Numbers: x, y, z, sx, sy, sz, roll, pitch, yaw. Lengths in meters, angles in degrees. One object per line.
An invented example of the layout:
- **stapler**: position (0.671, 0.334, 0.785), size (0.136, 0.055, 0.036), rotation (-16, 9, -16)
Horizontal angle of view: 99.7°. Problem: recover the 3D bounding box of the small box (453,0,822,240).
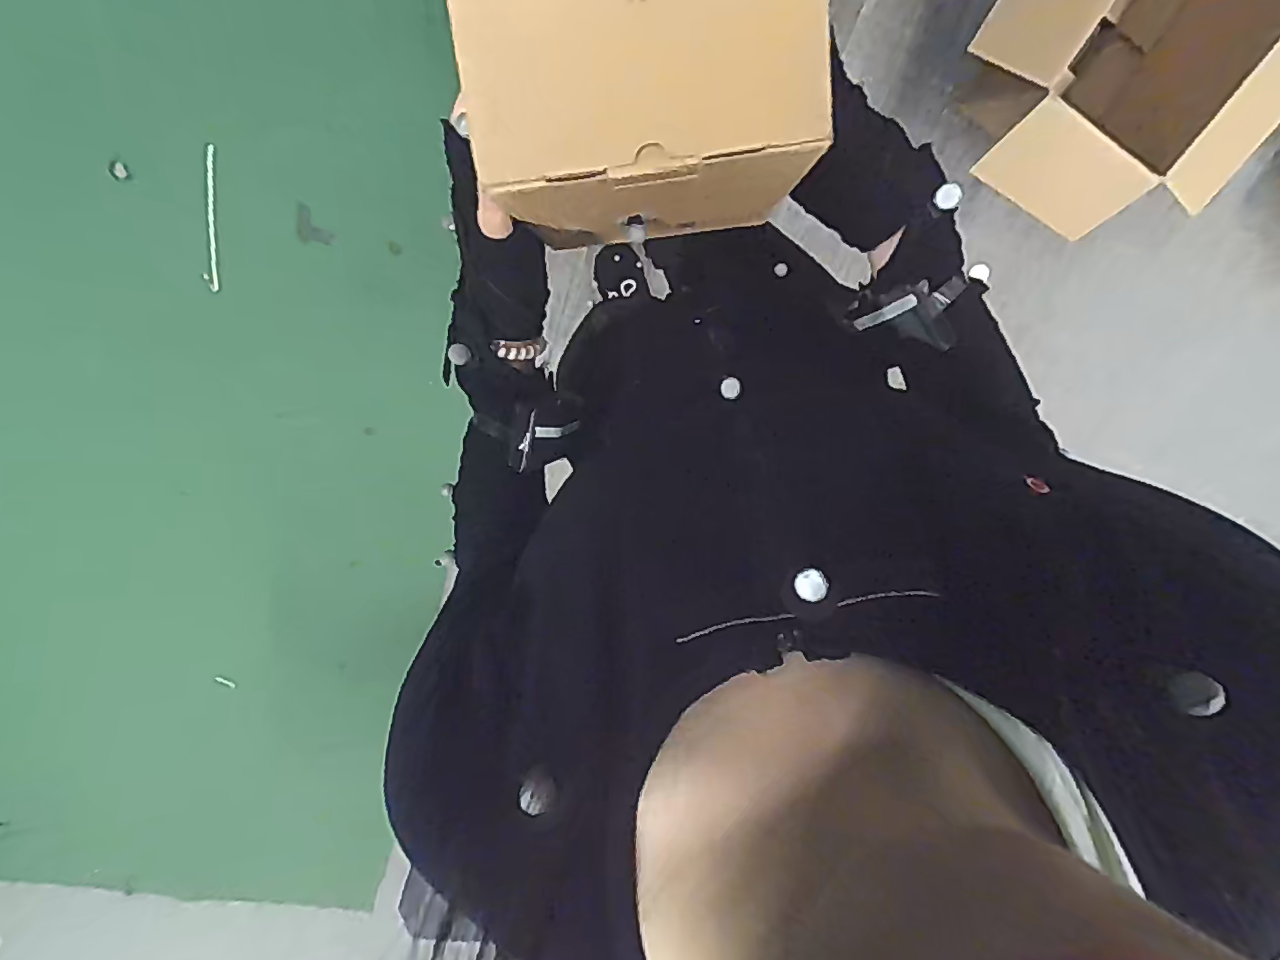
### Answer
- **small box**: position (-0.002, -0.254, 0.313), size (0.168, 0.176, 0.179), rotation (-6, 106, 4)
